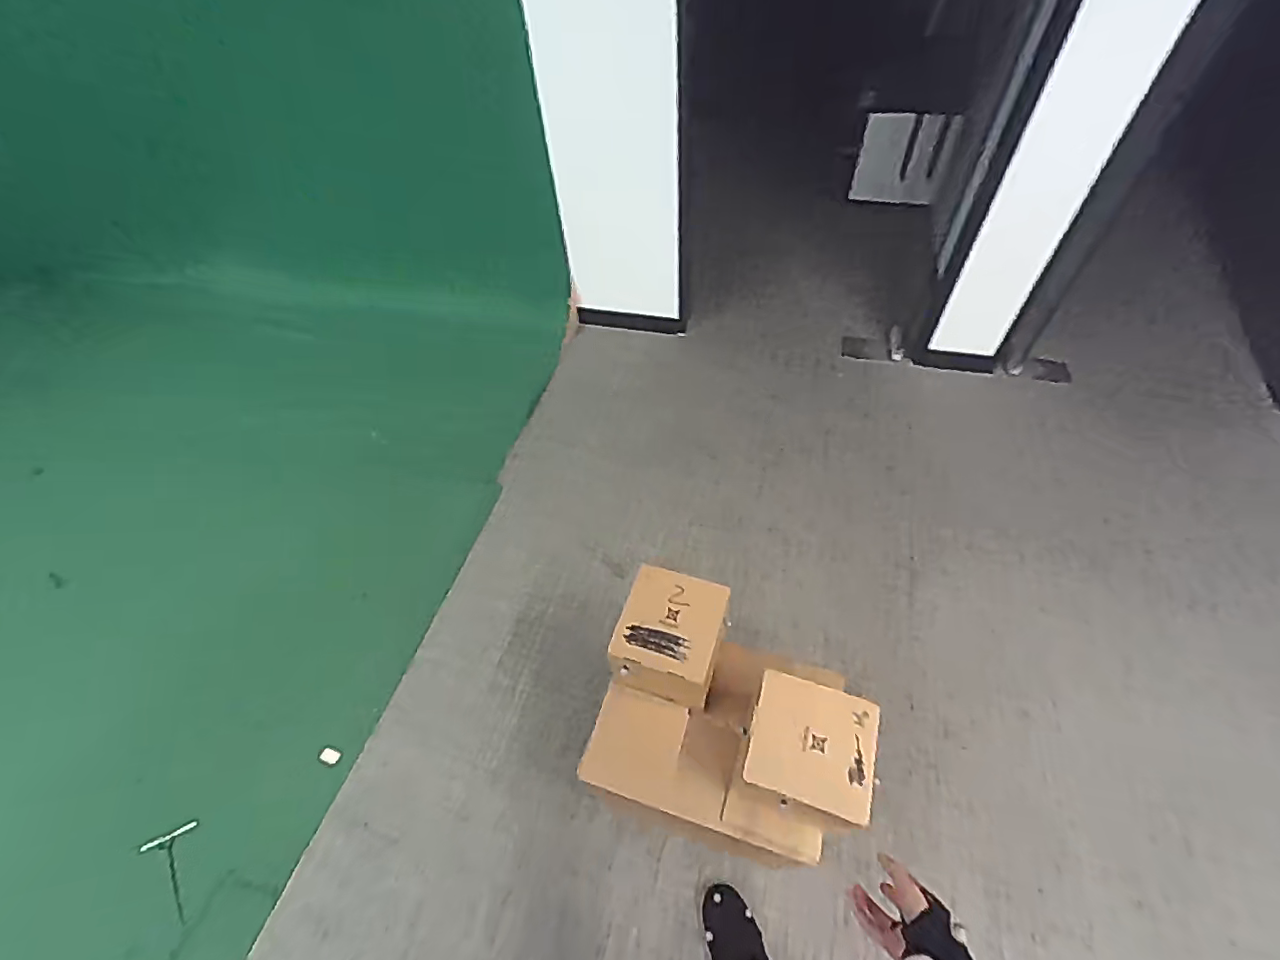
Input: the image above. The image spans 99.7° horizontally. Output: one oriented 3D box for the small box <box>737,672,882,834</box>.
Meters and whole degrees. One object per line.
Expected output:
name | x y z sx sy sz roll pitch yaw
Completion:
small box | 0.255 0.427 0.840 0.179 0.176 0.168 14 57 15
